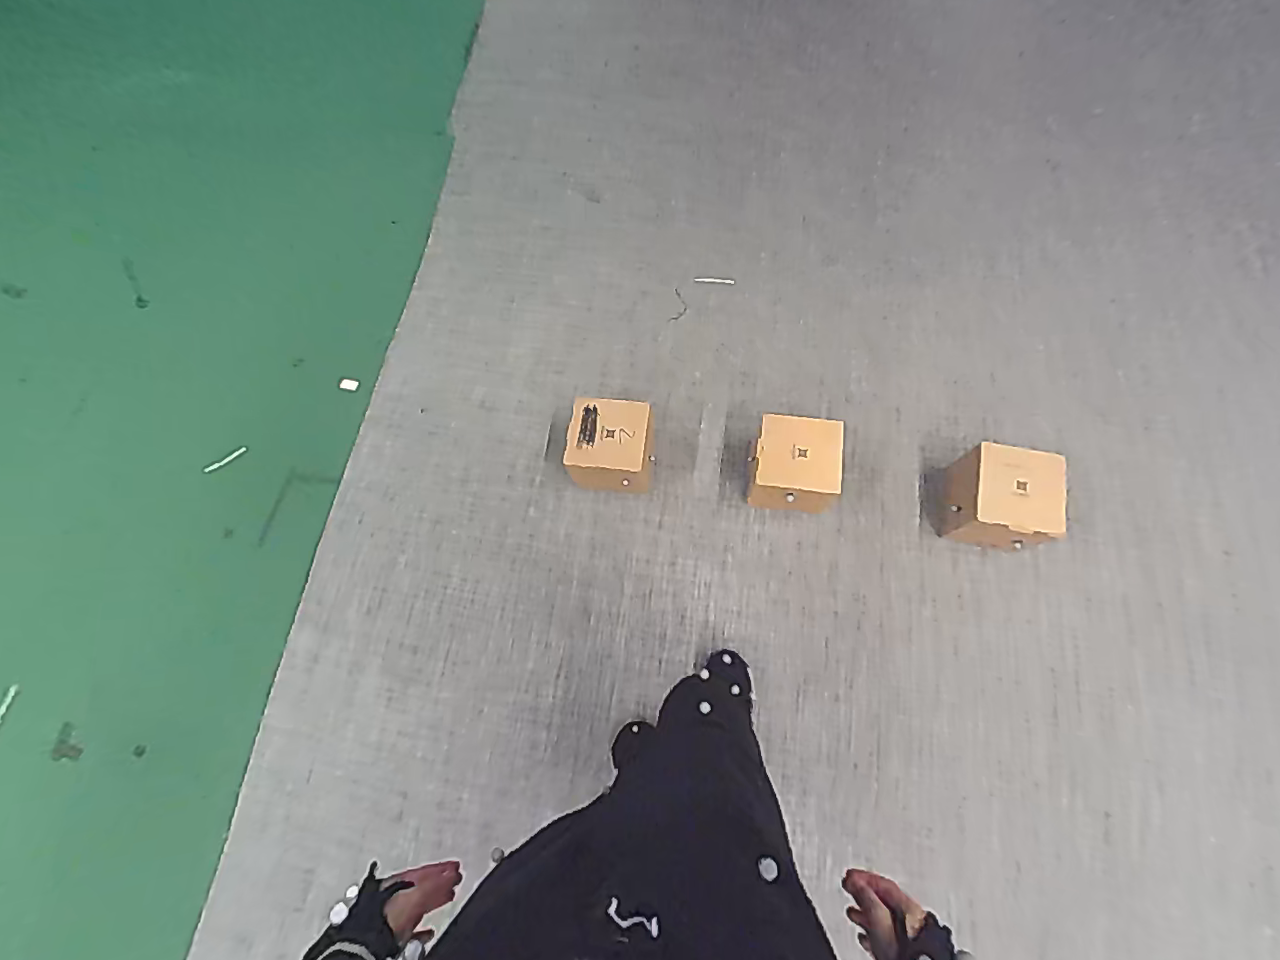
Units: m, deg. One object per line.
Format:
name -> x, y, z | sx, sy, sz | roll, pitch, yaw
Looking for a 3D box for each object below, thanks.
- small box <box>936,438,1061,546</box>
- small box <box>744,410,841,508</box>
small box -> 0.759, 0.033, 1.159 | 0.168, 0.176, 0.179 | 11, 72, 7
small box -> 0.338, -0.041, 1.216 | 0.179, 0.176, 0.168 | 7, 73, 7
